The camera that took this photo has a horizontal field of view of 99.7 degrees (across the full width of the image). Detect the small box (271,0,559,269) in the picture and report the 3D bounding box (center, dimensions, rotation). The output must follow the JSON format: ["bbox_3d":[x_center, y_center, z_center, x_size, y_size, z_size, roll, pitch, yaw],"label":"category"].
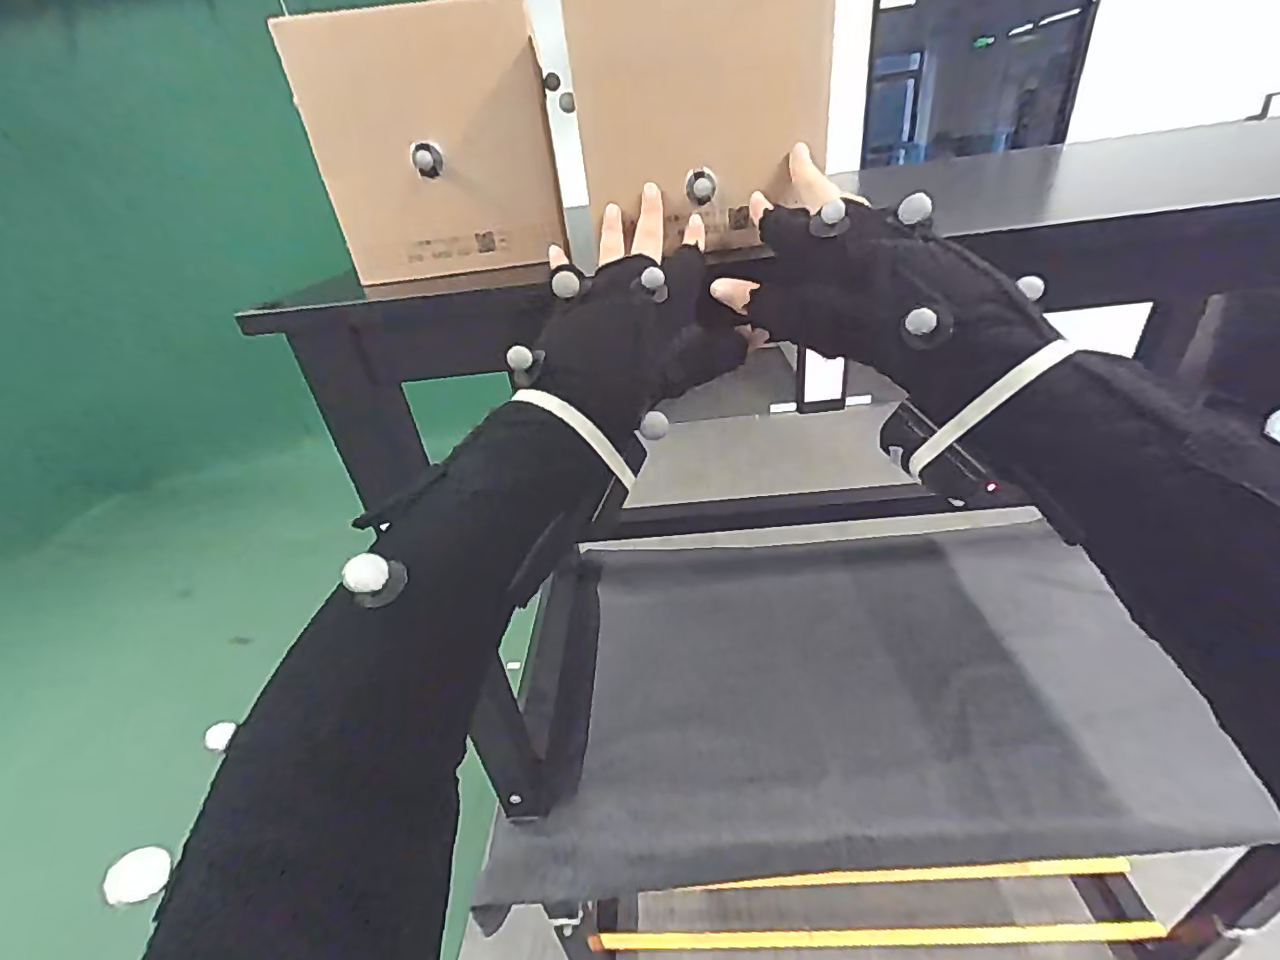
[{"bbox_3d":[-0.167,-0.289,0.475,0.168,0.176,0.179,-7,31,-2],"label":"small box"}]
